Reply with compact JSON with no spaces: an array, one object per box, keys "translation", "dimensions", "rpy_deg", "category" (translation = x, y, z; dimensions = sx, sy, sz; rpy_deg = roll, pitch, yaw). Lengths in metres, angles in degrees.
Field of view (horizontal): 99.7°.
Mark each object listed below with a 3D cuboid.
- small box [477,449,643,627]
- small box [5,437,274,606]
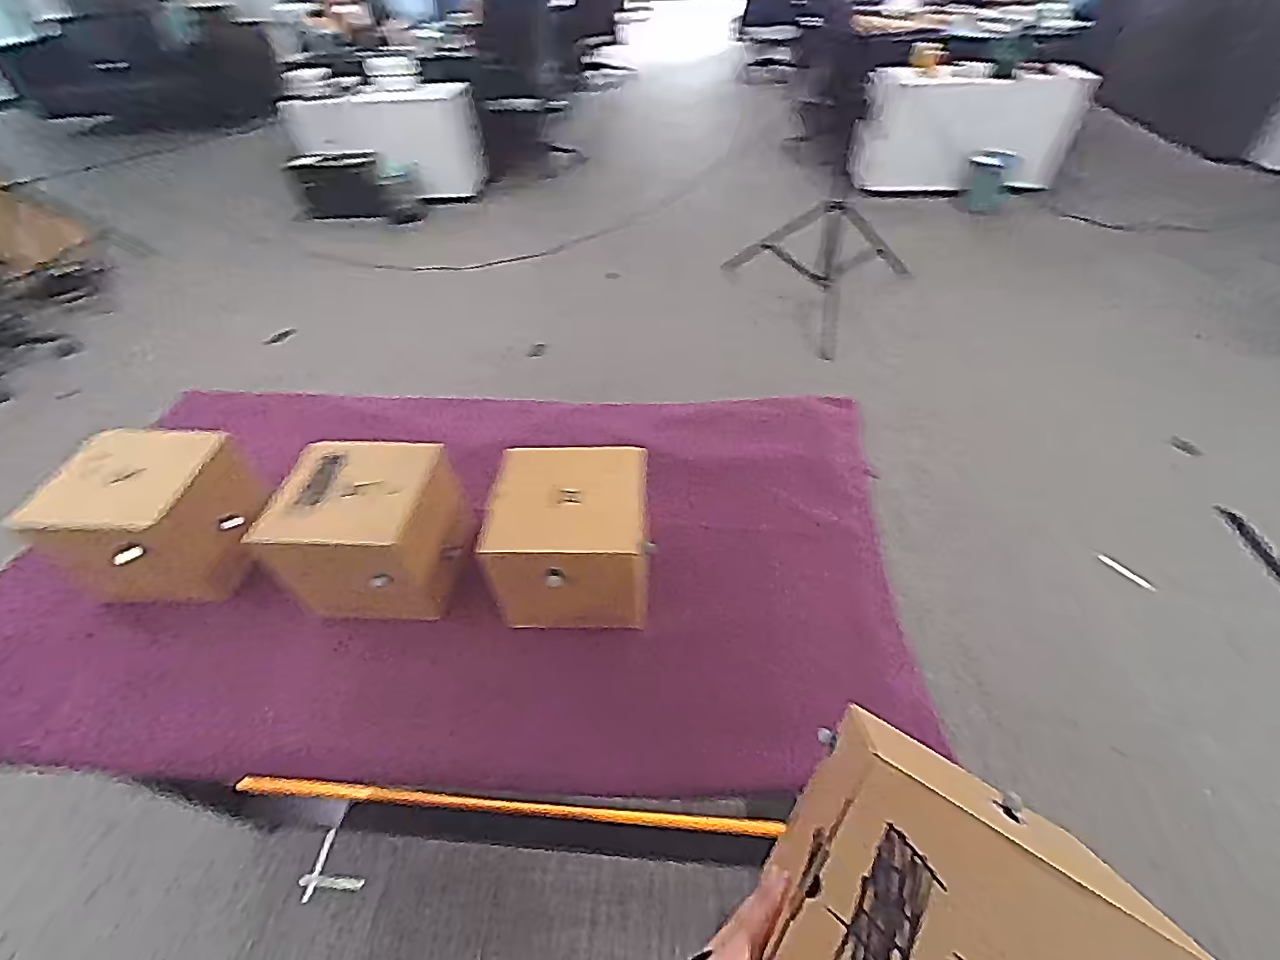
[{"translation":[-0.086,0.078,0.698],"dimensions":[0.179,0.176,0.168],"rpy_deg":[-1,47,3],"category":"small box"},{"translation":[-0.654,0.059,0.741],"dimensions":[0.179,0.176,0.168],"rpy_deg":[1,46,1],"category":"small box"}]
